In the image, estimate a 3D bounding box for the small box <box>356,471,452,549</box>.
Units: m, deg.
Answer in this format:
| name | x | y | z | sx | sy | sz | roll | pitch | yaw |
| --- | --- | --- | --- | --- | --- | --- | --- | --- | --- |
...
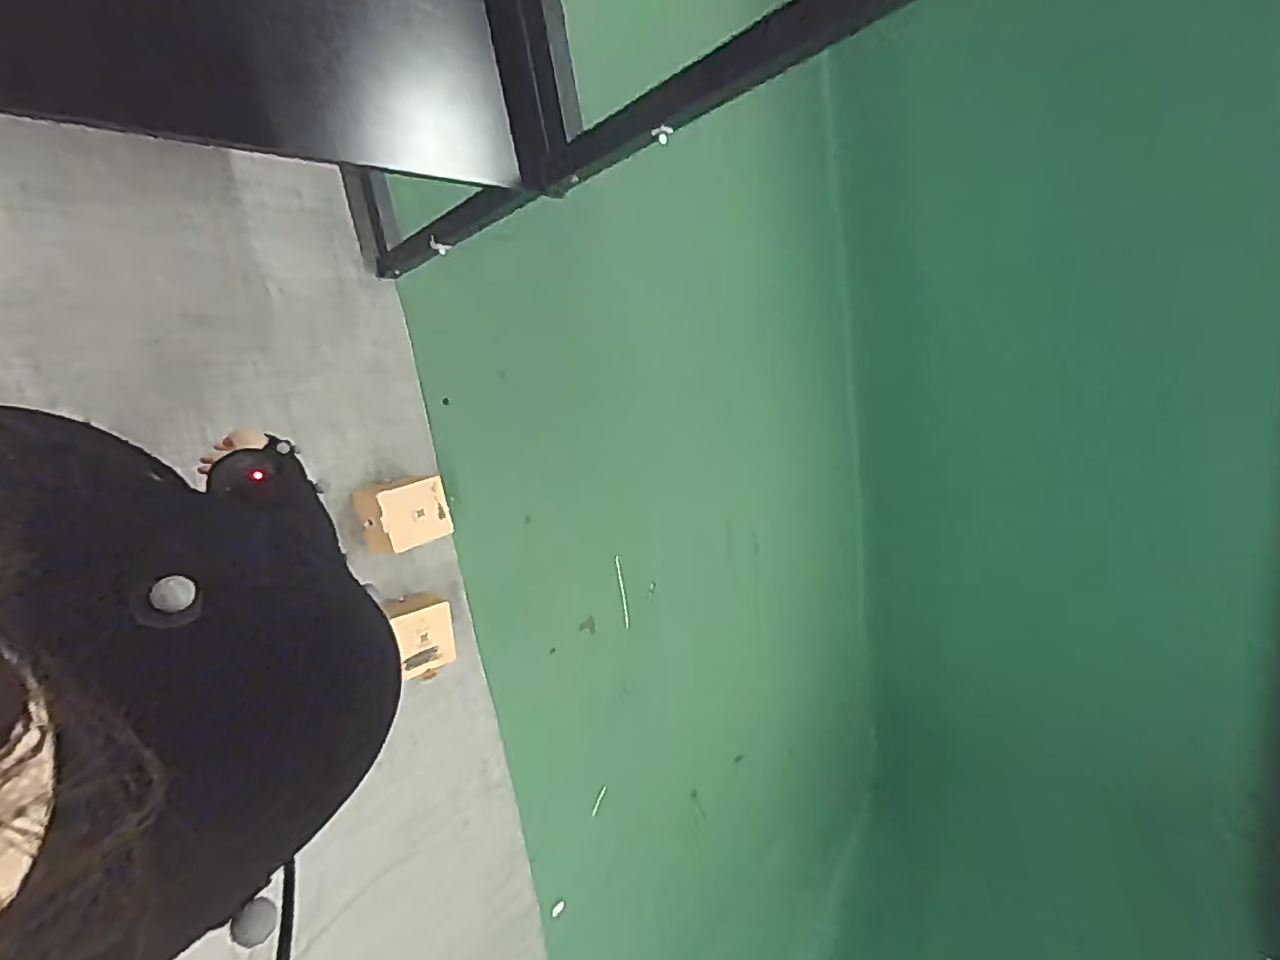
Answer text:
| name | x | y | z | sx | sy | sz | roll | pitch | yaw |
| --- | --- | --- | --- | --- | --- | --- | --- | --- | --- |
| small box | -0.645 | 0.077 | 1.463 | 0.179 | 0.176 | 0.168 | -22 | 107 | -44 |
